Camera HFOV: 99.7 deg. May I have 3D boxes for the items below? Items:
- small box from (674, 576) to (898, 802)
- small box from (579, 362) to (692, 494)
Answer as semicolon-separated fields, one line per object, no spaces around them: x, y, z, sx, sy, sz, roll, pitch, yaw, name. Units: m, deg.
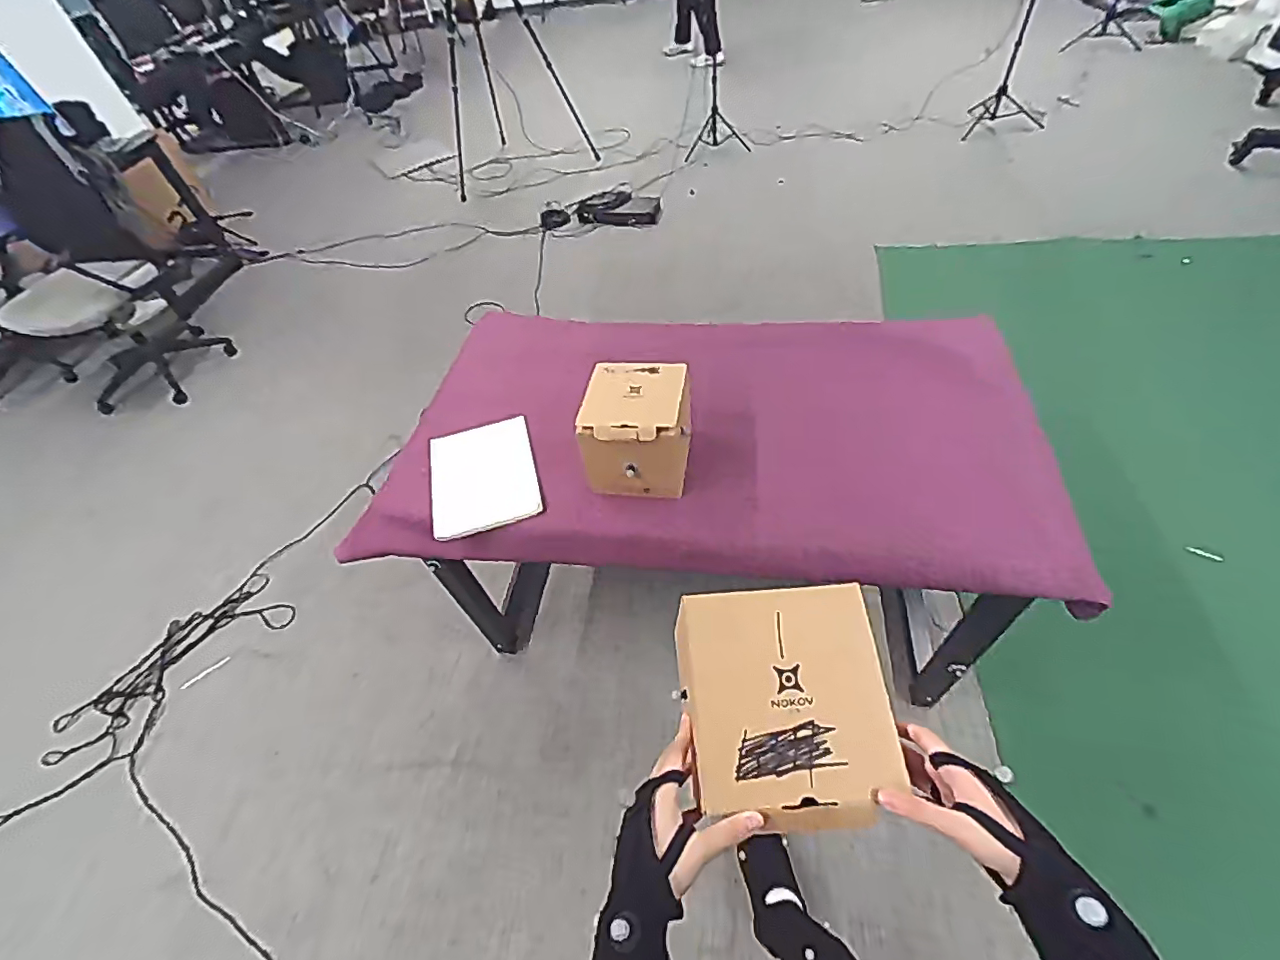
0.123;0.207;0.538;0.168;0.176;0.179;-4;63;-1;small box
0.002;-0.092;0.975;0.168;0.176;0.179;4;52;11;small box
